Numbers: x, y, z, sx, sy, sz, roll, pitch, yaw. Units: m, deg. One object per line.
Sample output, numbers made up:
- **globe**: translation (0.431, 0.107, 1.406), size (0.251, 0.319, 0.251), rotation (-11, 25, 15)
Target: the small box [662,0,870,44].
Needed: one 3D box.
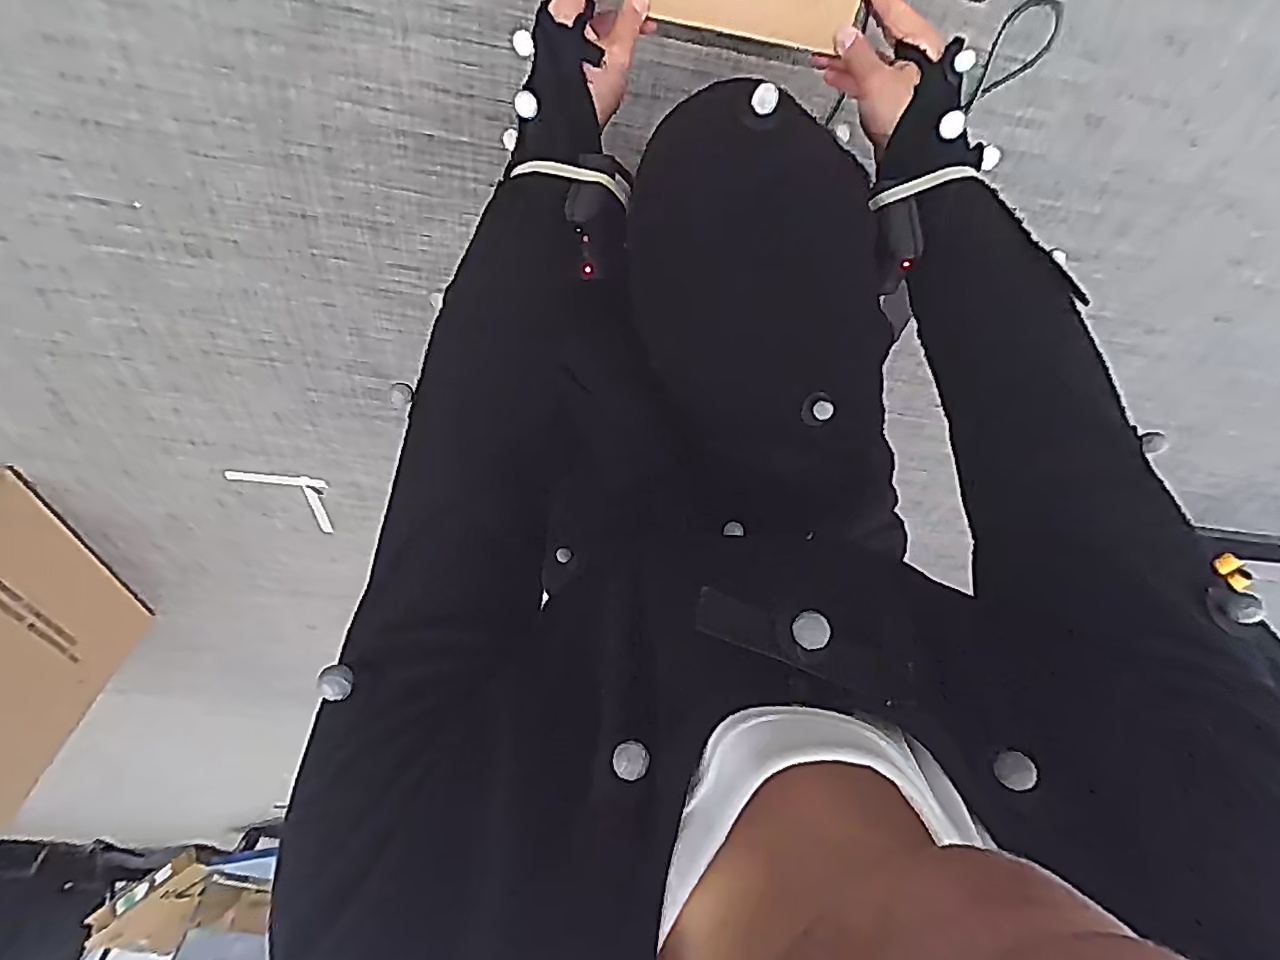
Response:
- **small box**: translation (0.090, -0.442, 0.376), size (0.168, 0.176, 0.179), rotation (7, 136, -6)
